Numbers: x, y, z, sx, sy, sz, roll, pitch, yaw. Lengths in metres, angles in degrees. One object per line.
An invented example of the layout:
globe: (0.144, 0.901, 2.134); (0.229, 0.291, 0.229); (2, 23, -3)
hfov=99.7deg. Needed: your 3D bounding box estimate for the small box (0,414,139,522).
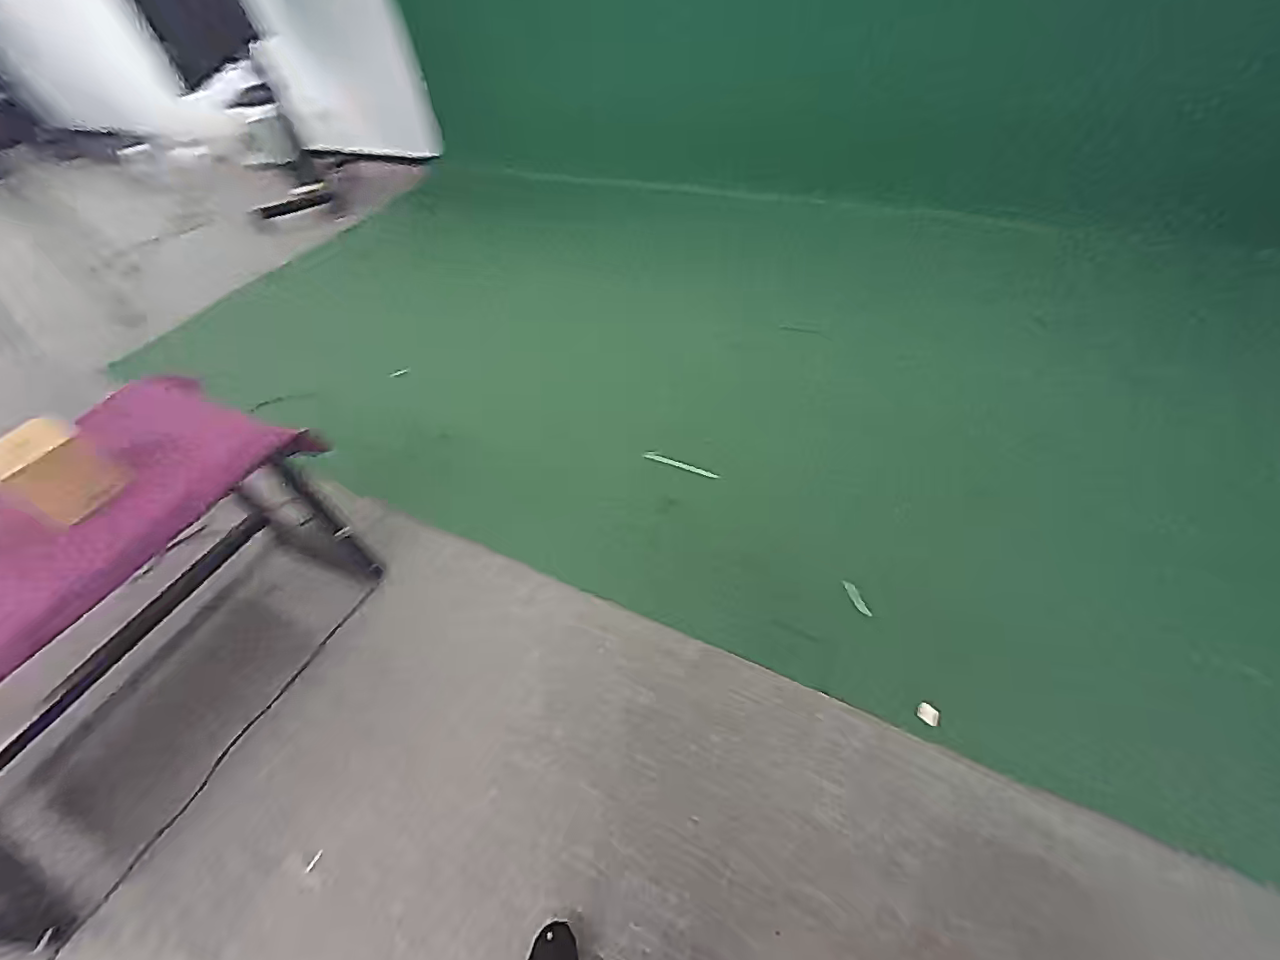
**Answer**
small box: (-1.368, -0.026, 1.282); (0.179, 0.176, 0.168); (20, 55, 23)
